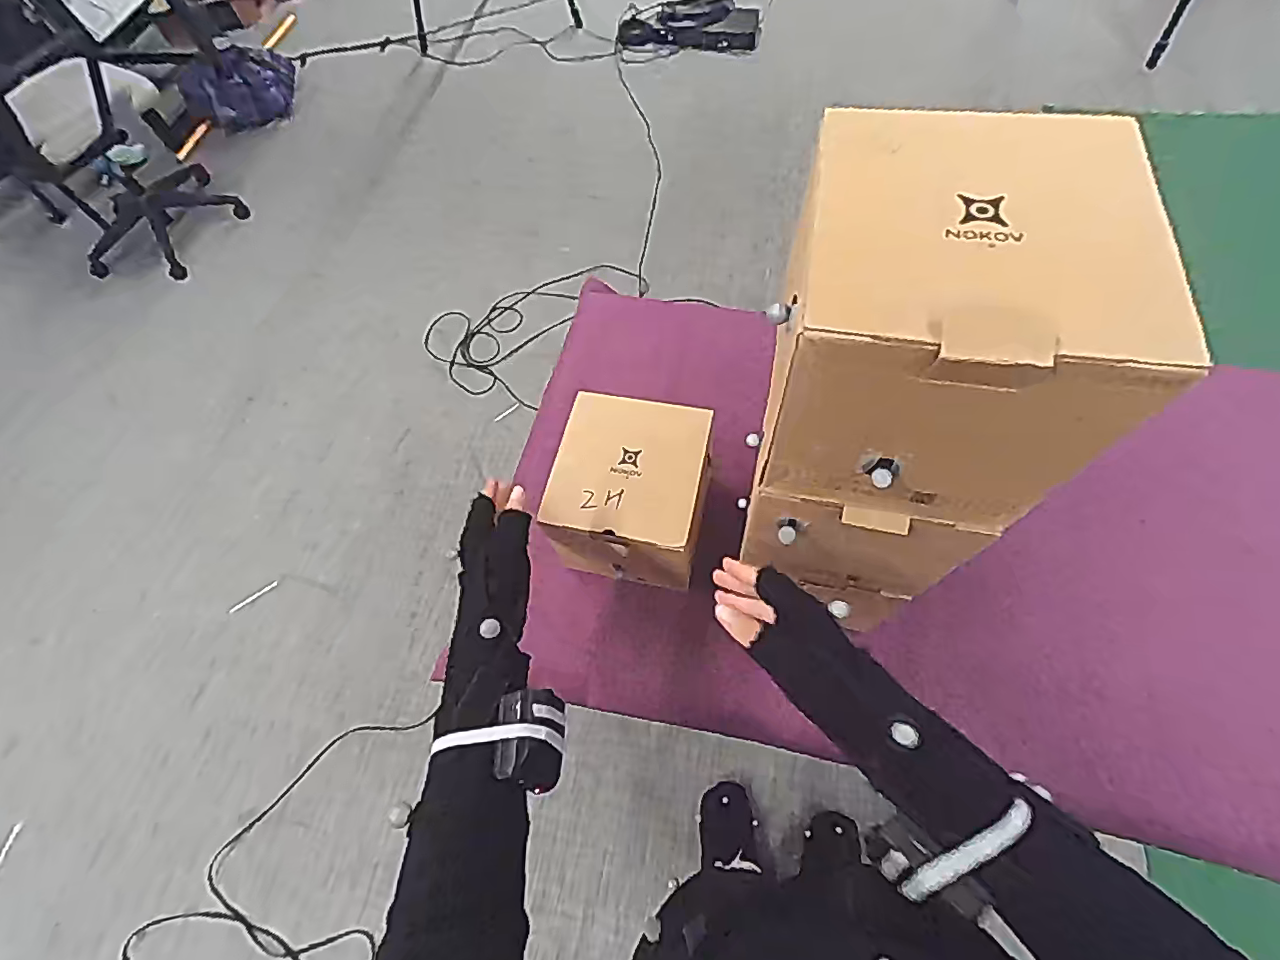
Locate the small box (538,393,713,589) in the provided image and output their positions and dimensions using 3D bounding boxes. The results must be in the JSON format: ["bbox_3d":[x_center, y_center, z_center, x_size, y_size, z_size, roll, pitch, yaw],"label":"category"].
[{"bbox_3d":[-0.007,0.019,0.678,0.168,0.176,0.179,10,65,11],"label":"small box"}]

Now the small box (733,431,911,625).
[{"bbox_3d":[0.206,0.057,0.637,0.168,0.176,0.179,11,65,11],"label":"small box"}]

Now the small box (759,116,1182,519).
[{"bbox_3d":[0.174,-0.095,0.349,0.168,0.176,0.179,8,65,10],"label":"small box"}]
